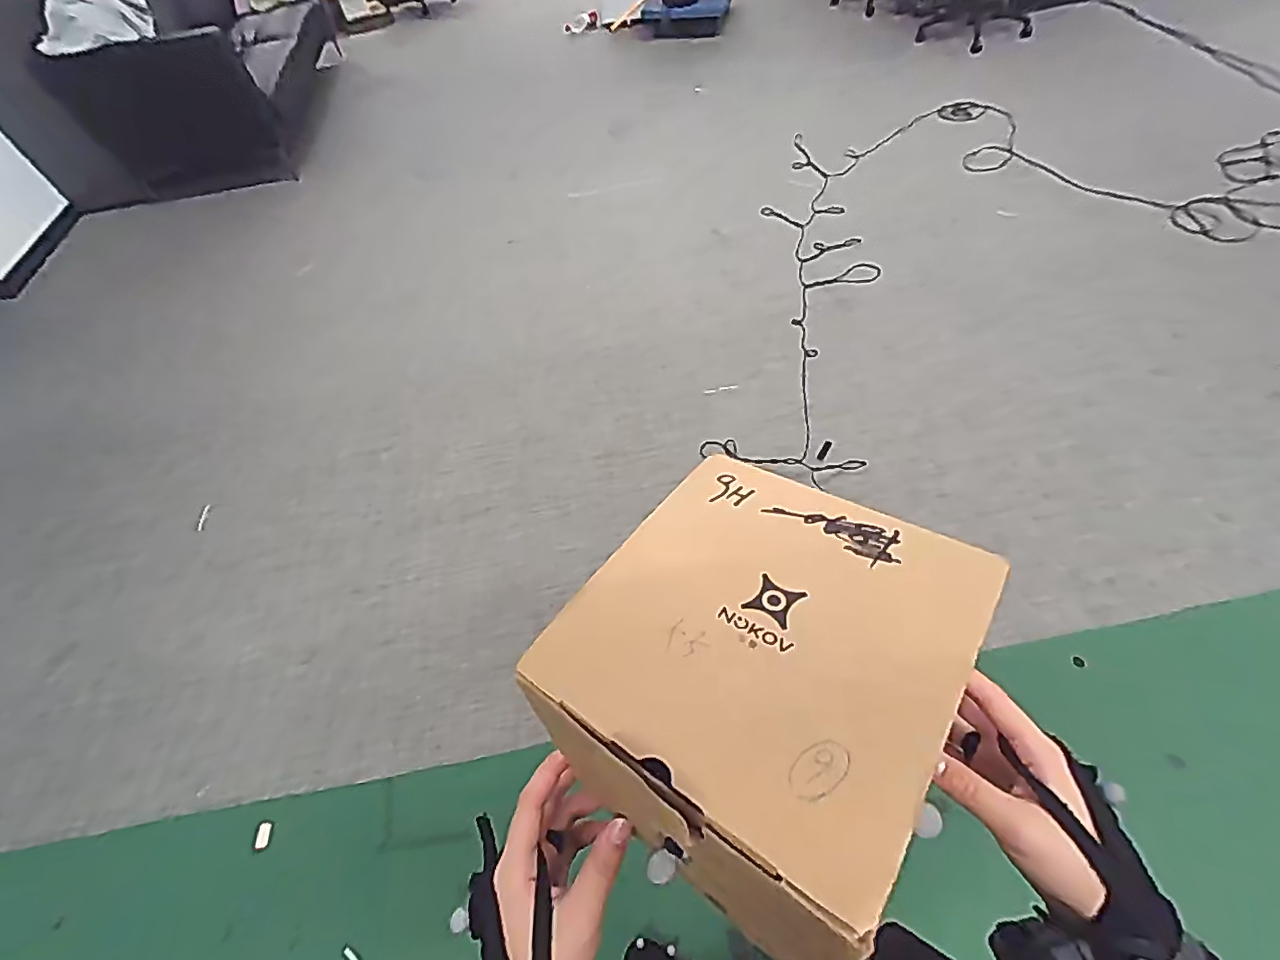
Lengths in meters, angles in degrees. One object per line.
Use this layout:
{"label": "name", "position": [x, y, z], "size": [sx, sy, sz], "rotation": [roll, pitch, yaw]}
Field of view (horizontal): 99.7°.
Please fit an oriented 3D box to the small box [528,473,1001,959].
{"label": "small box", "position": [0.072, 0.132, 0.312], "size": [0.168, 0.176, 0.179], "rotation": [23, 52, 32]}
